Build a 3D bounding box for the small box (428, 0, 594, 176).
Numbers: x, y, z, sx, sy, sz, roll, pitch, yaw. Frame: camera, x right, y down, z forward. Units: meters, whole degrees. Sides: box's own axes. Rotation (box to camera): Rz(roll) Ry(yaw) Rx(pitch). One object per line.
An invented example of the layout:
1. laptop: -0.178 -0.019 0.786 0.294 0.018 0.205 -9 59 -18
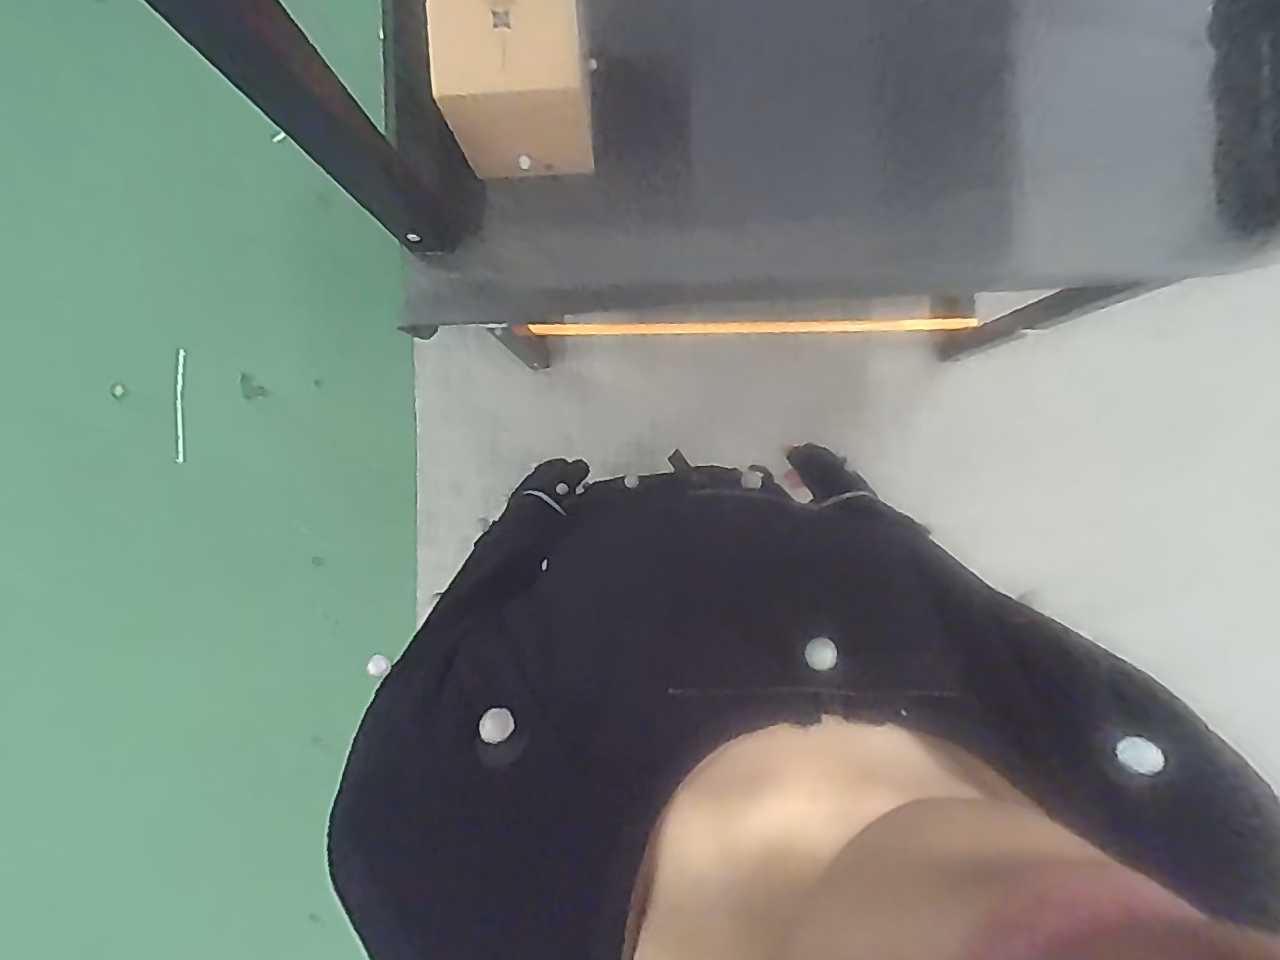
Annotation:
1. small box: -0.148 -0.509 0.666 0.168 0.176 0.179 -3 90 1
